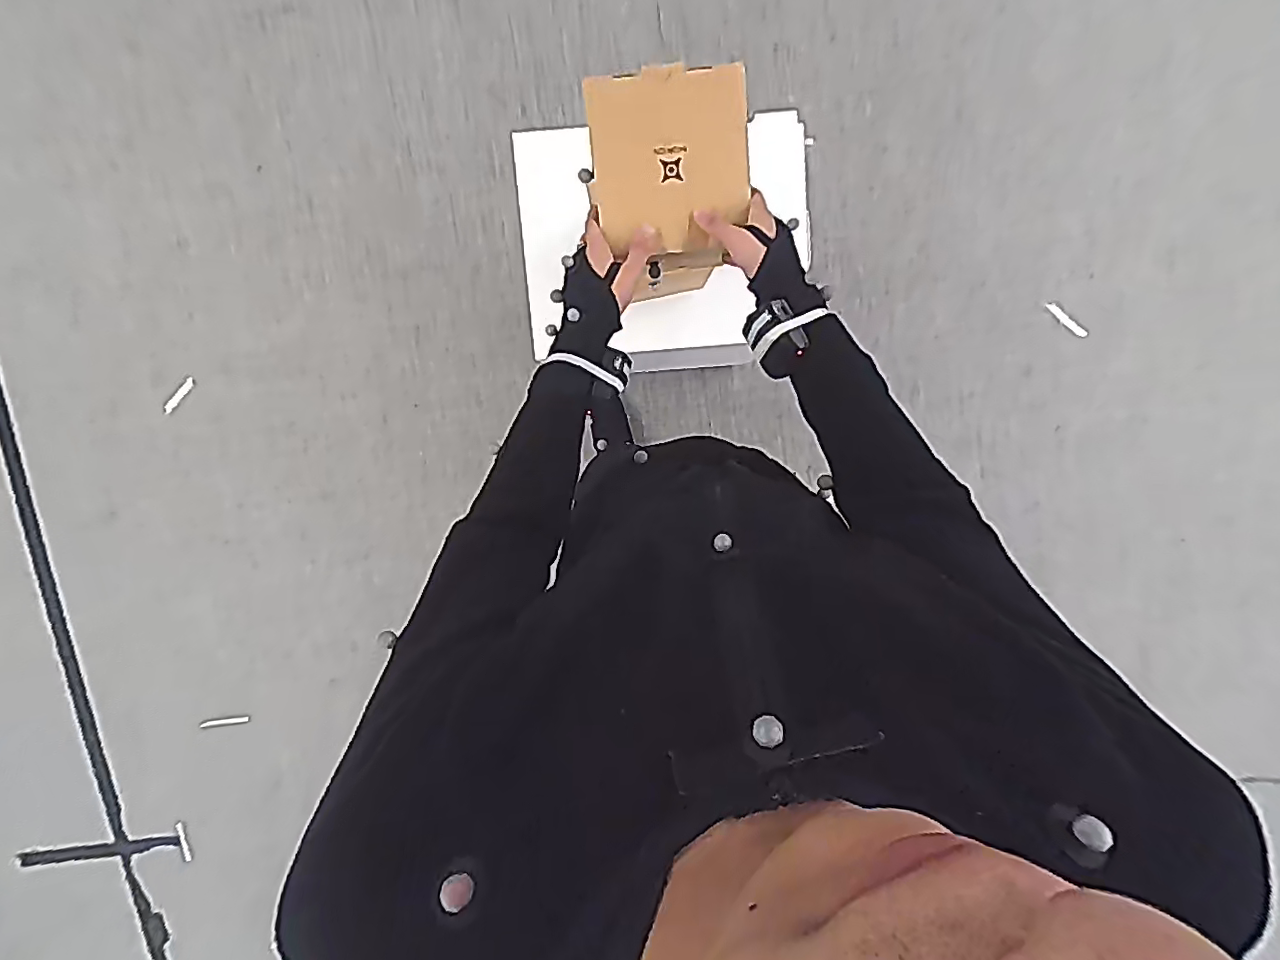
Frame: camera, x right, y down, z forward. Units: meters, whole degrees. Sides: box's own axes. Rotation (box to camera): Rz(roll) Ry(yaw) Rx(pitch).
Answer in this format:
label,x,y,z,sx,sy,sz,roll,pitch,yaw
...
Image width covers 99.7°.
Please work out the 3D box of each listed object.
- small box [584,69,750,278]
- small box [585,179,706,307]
label,x,y,z,sx,sy,sz,roll,pitch,yaw
small box,0.030,-0.344,0.646,0.168,0.176,0.179,-7,103,-1
small box,0.016,-0.400,0.905,0.179,0.176,0.168,-12,97,0
